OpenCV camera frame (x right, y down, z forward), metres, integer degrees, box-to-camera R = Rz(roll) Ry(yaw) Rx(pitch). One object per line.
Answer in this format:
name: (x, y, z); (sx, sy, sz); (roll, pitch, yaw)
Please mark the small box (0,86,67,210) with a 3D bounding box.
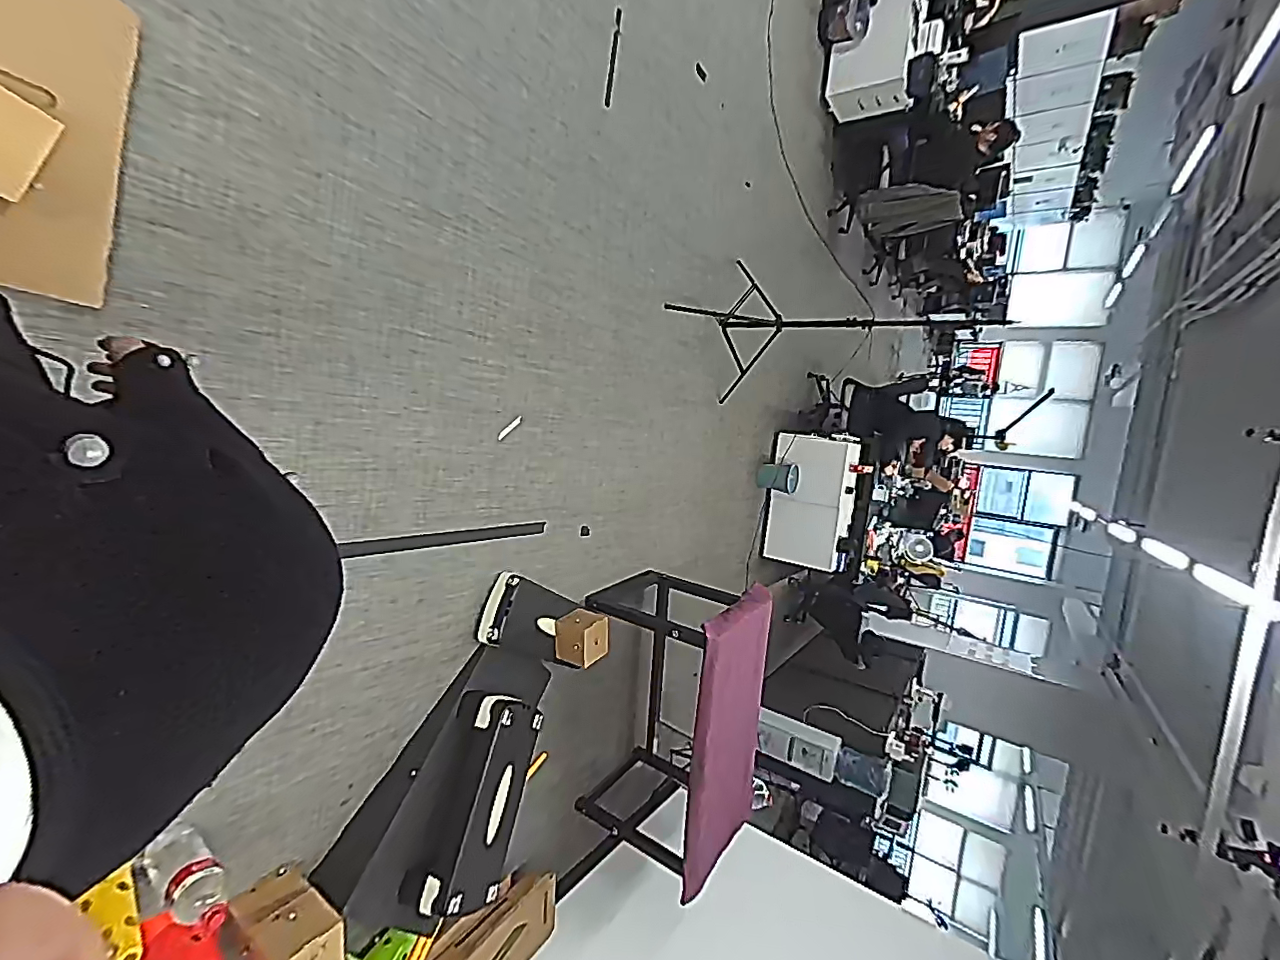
small box: (-1.141, -0.586, 0.917); (0.179, 0.176, 0.168); (31, 75, -51)
